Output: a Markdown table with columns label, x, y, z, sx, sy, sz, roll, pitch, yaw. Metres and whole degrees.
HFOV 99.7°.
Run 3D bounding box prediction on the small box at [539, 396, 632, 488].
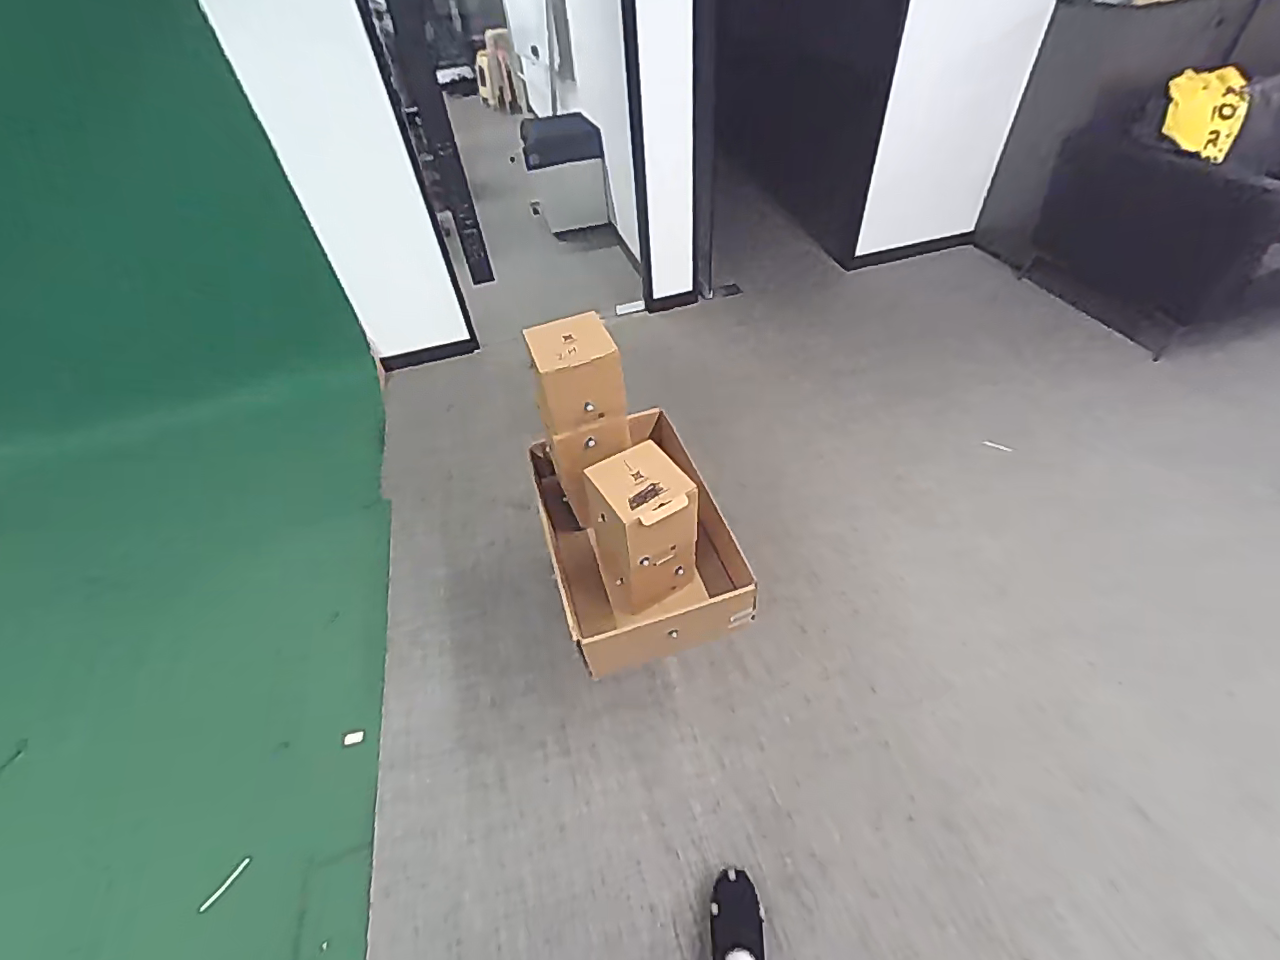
| label | x | y | z | sx | sy | sz | roll | pitch | yaw |
| --- | --- | --- | --- | --- | --- | --- | --- | --- | --- |
| small box | -0.124 | -0.111 | 1.295 | 0.179 | 0.176 | 0.168 | -20 | 48 | -11 |

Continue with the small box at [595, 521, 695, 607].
| label | x | y | z | sx | sy | sz | roll | pitch | yaw |
| --- | --- | --- | --- | --- | --- | --- | --- | --- | --- |
| small box | 0.015 | 0.168 | 1.247 | 0.168 | 0.176 | 0.179 | -25 | 49 | -18 |

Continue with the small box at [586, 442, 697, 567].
| label | x | y | z | sx | sy | sz | roll | pitch | yaw |
| --- | --- | --- | --- | --- | --- | --- | --- | --- | --- |
| small box | 0.006 | 0.057 | 1.126 | 0.168 | 0.176 | 0.179 | -25 | 49 | -19 |

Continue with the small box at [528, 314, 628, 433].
| label | x | y | z | sx | sy | sz | roll | pitch | yaw |
| --- | --- | --- | --- | --- | --- | --- | --- | --- | --- |
| small box | -0.134 | -0.232 | 1.183 | 0.168 | 0.176 | 0.179 | -18 | 49 | -9 |
